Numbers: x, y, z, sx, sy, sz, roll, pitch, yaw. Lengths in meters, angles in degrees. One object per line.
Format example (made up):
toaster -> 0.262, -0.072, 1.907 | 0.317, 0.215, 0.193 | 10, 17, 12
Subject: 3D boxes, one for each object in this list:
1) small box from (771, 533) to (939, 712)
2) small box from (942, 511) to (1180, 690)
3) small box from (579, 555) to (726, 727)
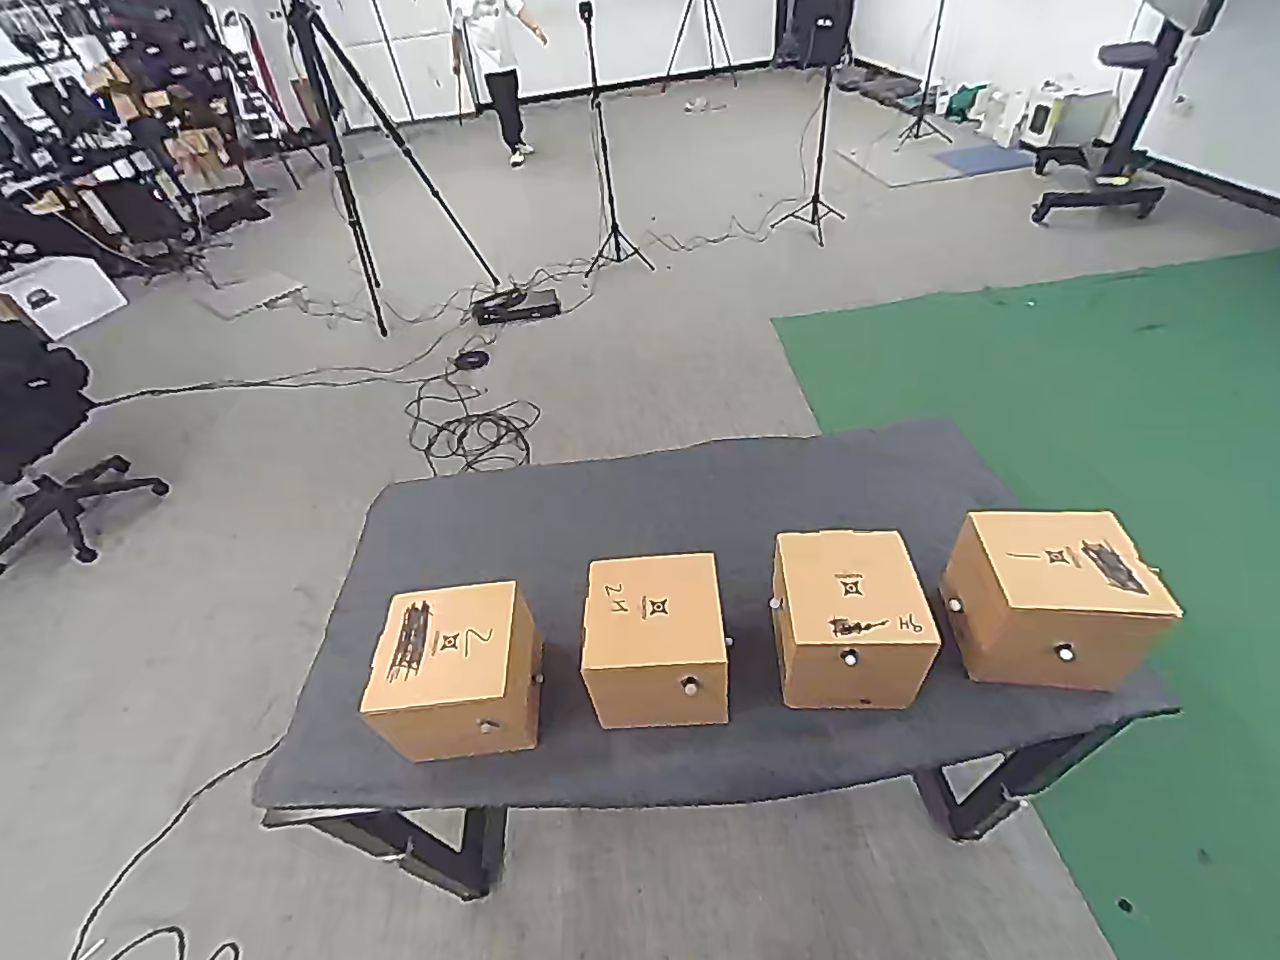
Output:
small box -> 0.273, 0.191, 0.736 | 0.168, 0.176, 0.179 | -2, 42, 7
small box -> 0.532, 0.160, 0.719 | 0.179, 0.176, 0.168 | 0, 41, 12
small box -> 0.024, 0.223, 0.743 | 0.179, 0.176, 0.168 | -5, 42, 6
